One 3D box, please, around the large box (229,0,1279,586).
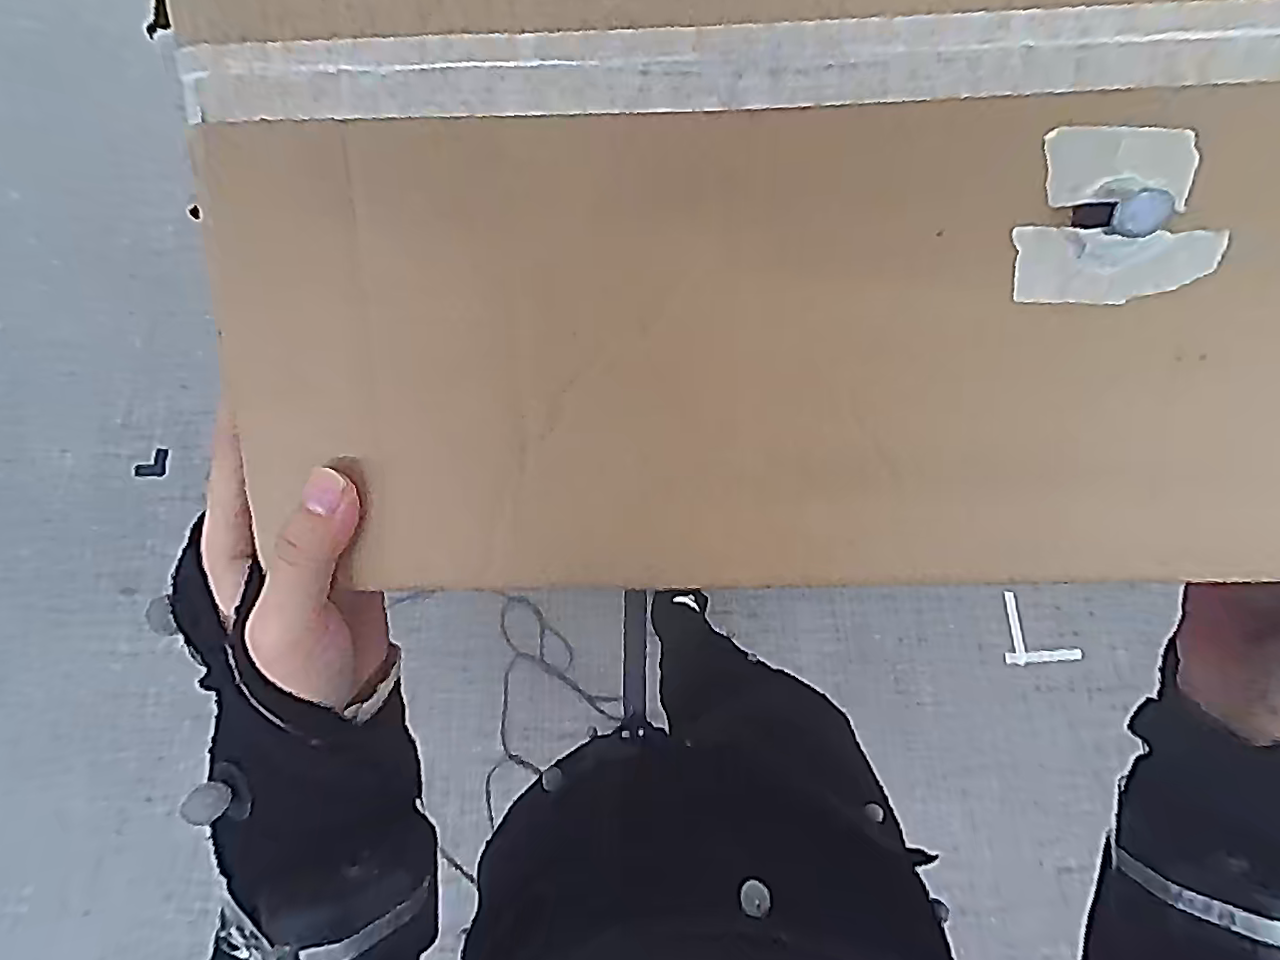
[{"bbox_3d":[0.071,-0.143,0.316,0.408,0.320,0.320,-2,100,1],"label":"large box"}]
